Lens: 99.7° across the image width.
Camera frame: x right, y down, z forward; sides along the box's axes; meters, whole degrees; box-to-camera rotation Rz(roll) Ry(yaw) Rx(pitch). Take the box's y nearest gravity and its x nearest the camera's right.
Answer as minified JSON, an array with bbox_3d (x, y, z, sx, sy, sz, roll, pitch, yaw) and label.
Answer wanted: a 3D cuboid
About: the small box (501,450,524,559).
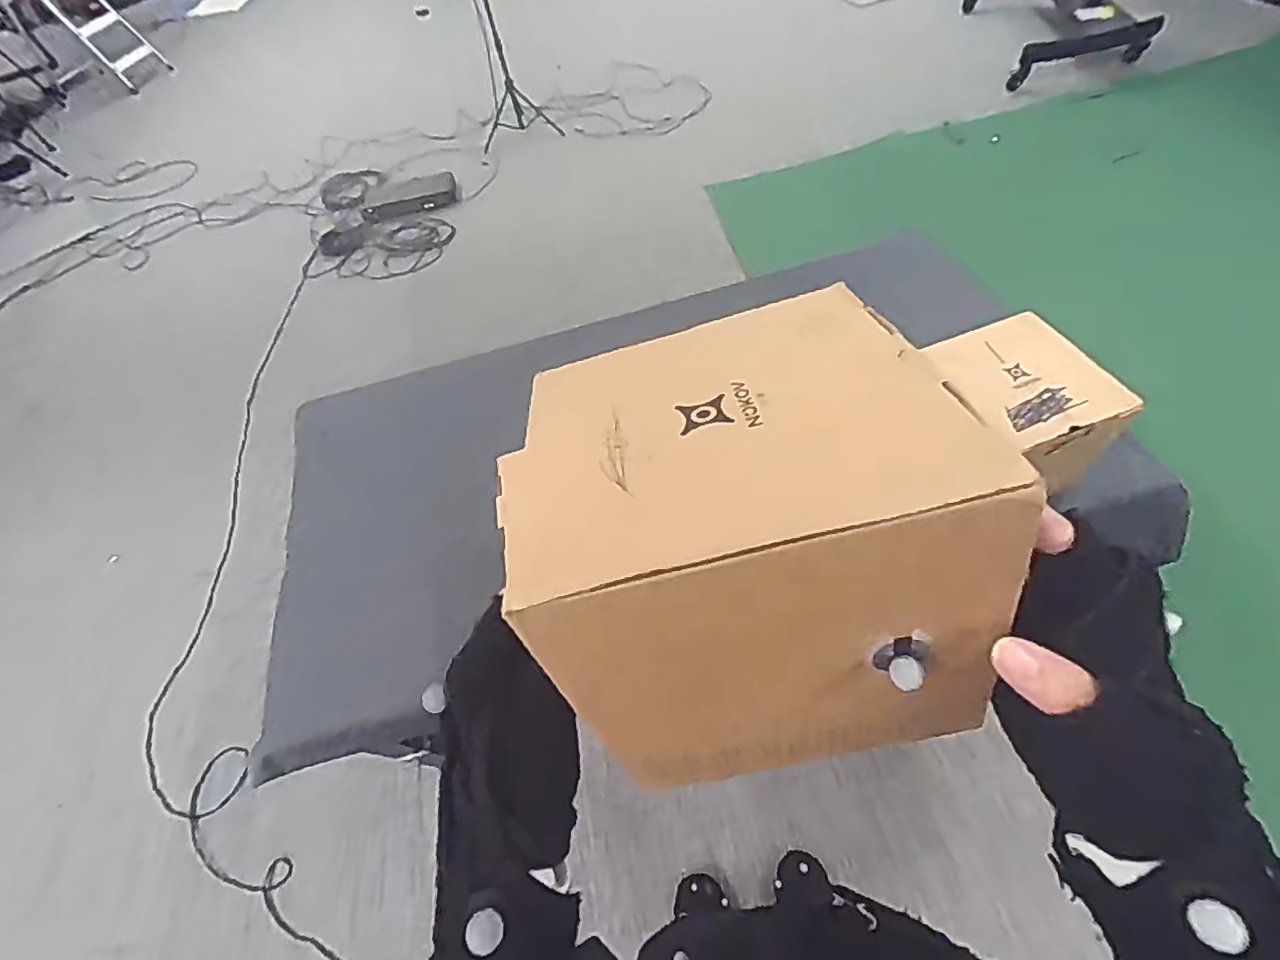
[{"bbox_3d":[-0.064,0.059,0.694,0.179,0.176,0.168,-14,54,0],"label":"small box"}]

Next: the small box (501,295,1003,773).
[{"bbox_3d":[0.049,0.030,0.292,0.179,0.176,0.168,-15,38,7],"label":"small box"}]

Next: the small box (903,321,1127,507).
[{"bbox_3d":[0.446,-0.067,0.701,0.168,0.176,0.179,-19,55,-4],"label":"small box"}]
